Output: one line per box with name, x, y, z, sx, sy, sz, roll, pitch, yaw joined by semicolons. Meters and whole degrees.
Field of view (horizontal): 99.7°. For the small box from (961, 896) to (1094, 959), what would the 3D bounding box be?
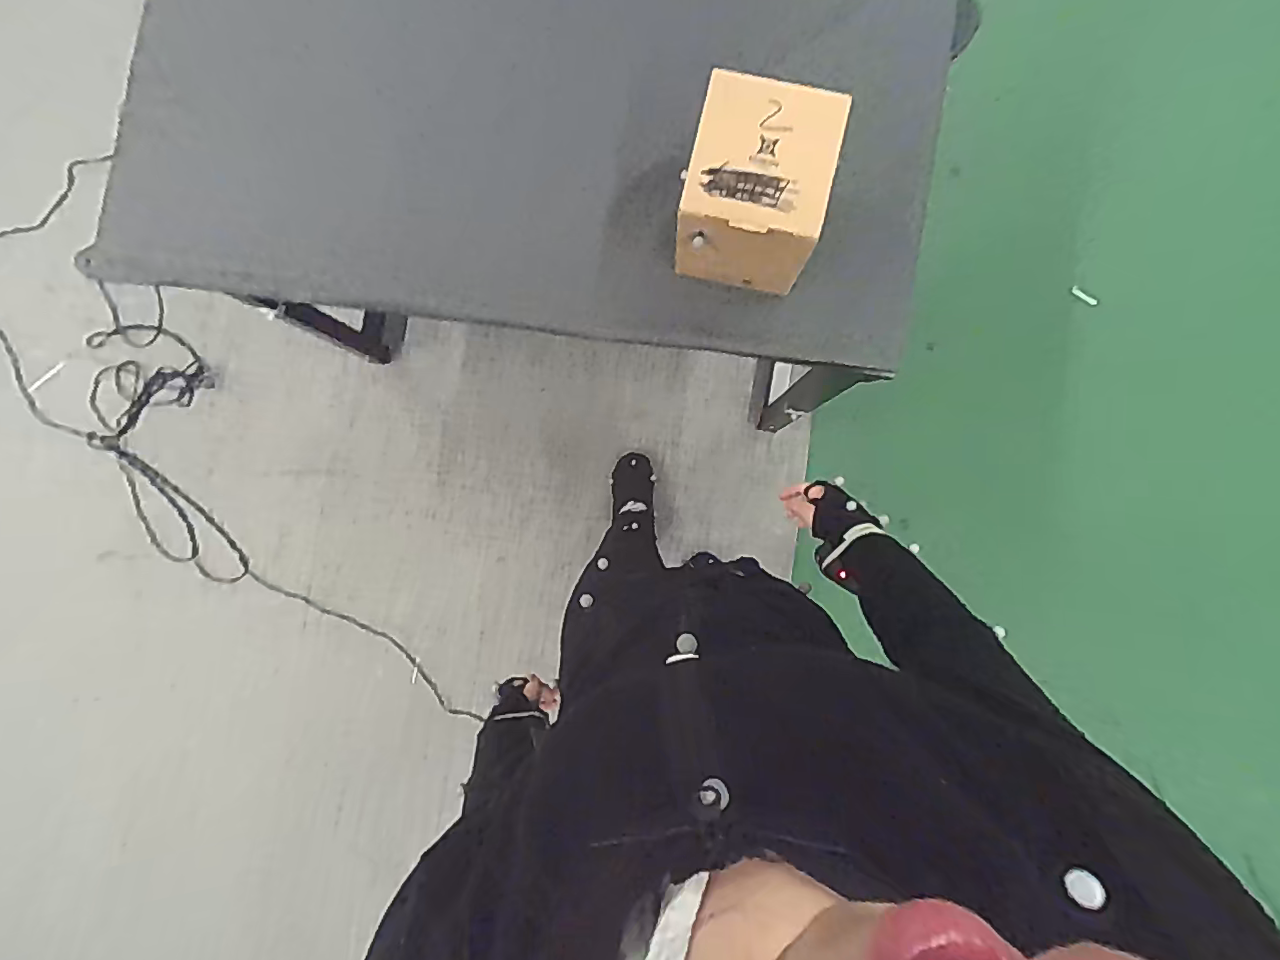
small box;0.846;1.058;1.185;0.179;0.176;0.168;7;88;1
